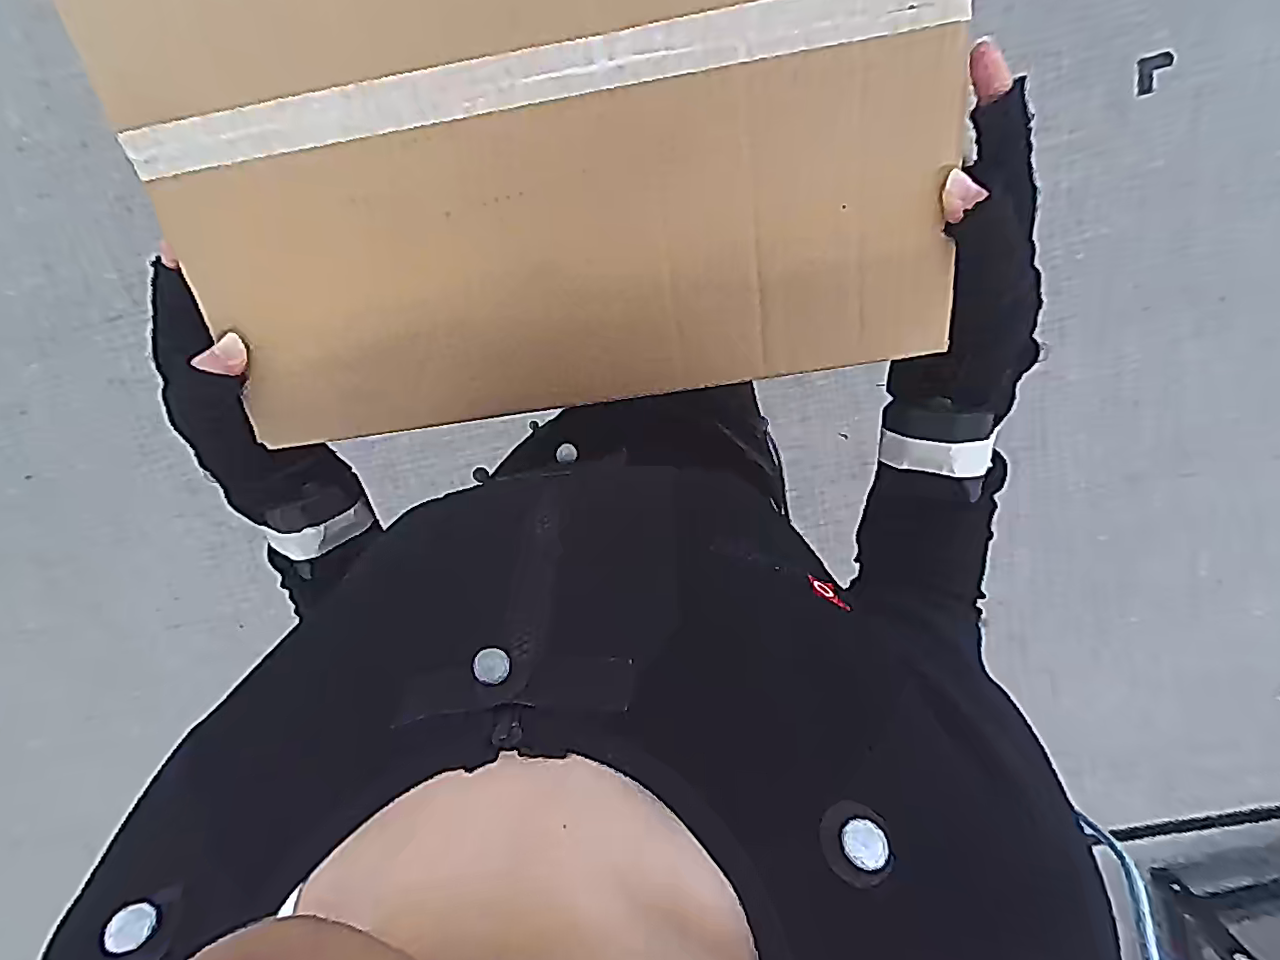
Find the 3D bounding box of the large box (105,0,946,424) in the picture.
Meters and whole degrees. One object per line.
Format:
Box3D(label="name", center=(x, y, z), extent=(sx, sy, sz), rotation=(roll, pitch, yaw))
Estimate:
Box3D(label="large box", center=(-0.051, -0.258, 0.404), extent=(0.408, 0.320, 0.320), rotation=(-8, 113, 4))
